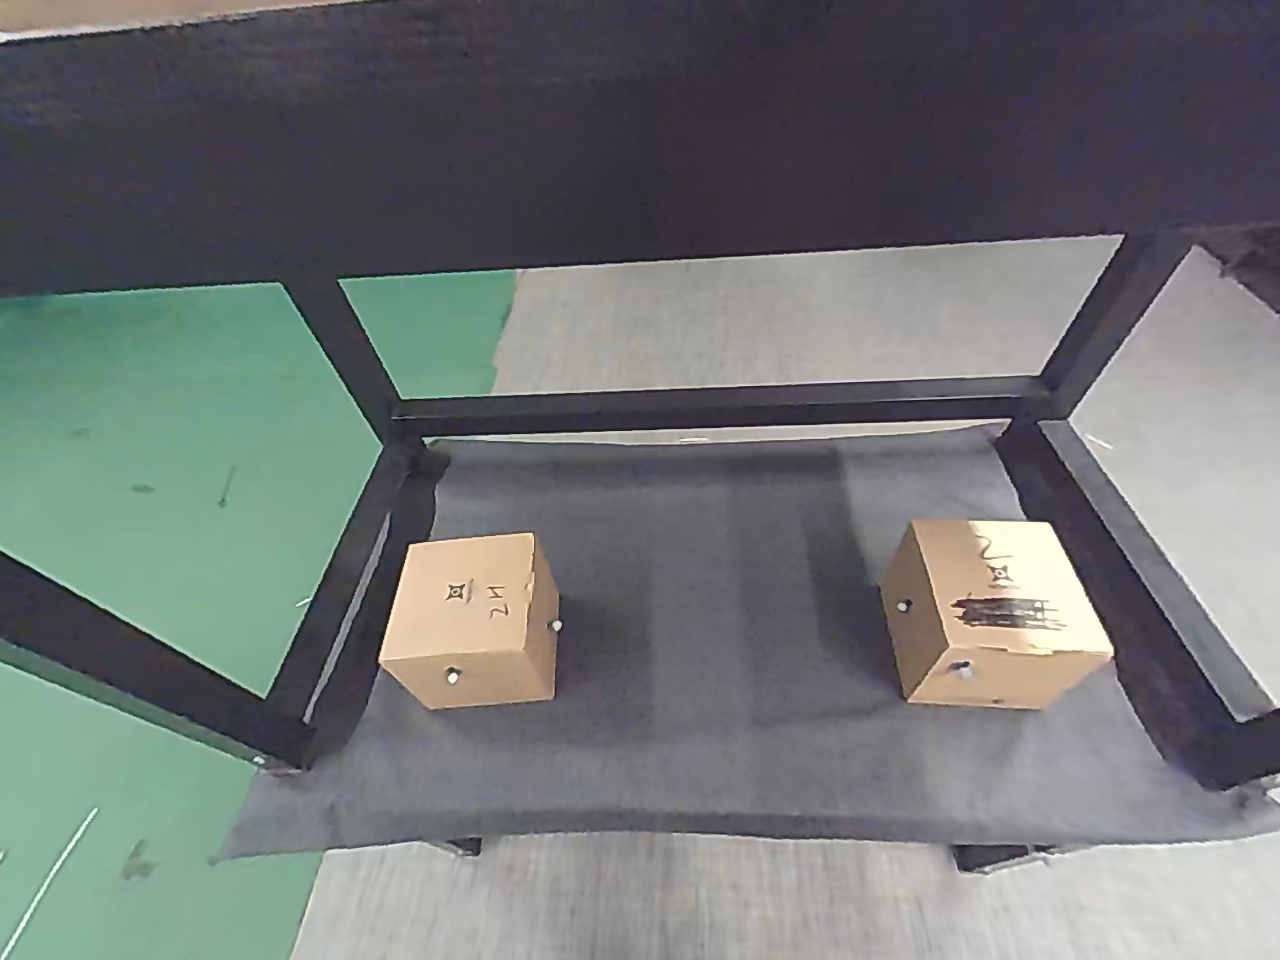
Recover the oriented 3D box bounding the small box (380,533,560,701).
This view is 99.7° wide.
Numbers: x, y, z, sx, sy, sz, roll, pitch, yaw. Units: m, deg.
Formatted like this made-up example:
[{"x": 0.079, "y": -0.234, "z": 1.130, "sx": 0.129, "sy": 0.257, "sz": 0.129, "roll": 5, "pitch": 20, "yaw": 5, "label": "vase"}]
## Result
[{"x": -0.216, "y": 0.193, "z": 0.741, "sx": 0.179, "sy": 0.176, "sz": 0.168, "roll": -5, "pitch": 50, "yaw": 2, "label": "small box"}]
